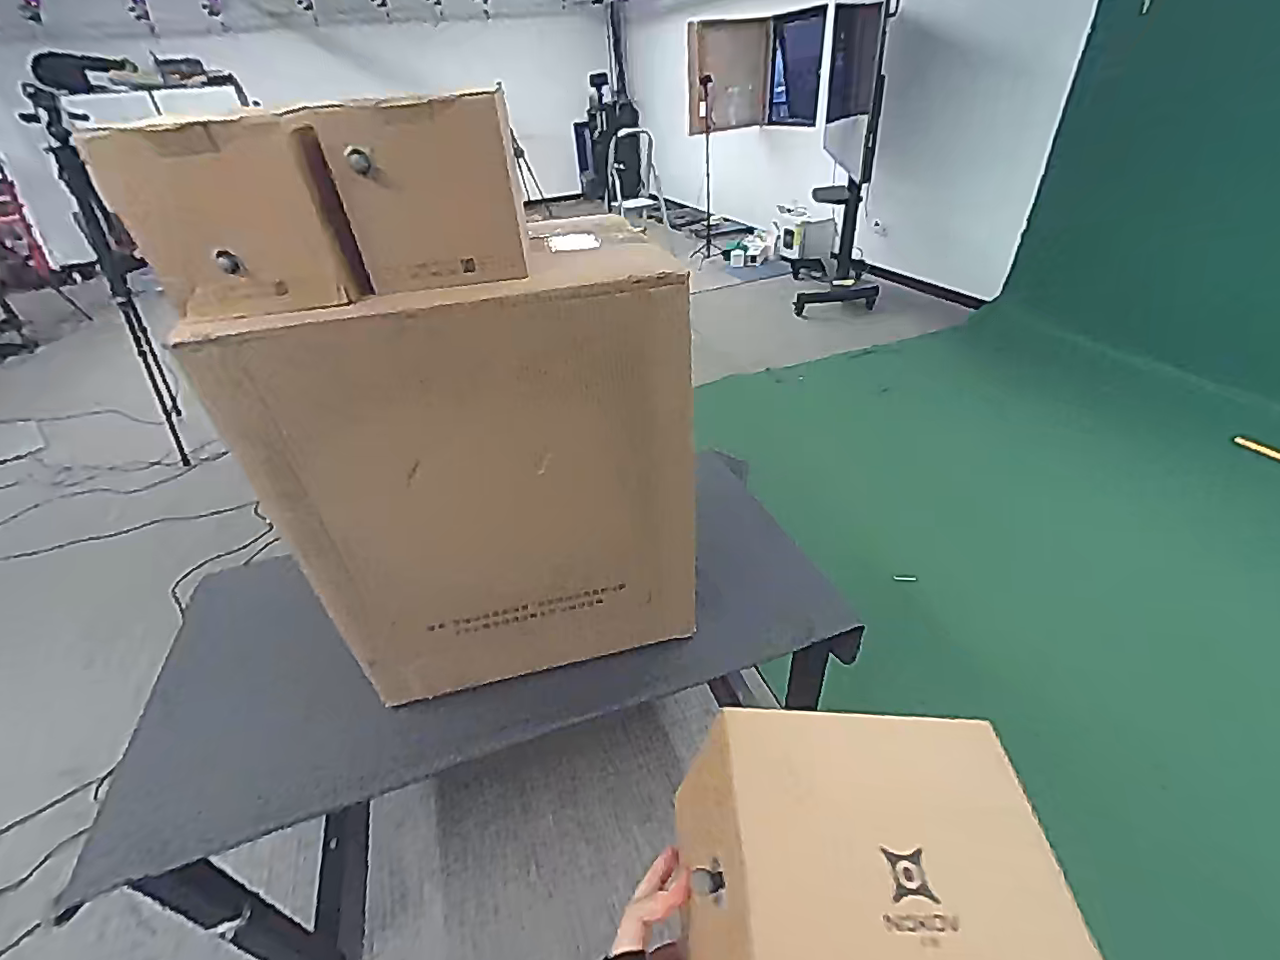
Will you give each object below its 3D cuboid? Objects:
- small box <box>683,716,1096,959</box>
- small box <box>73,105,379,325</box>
[{"bbox_3d":[0.122,0.262,0.314,0.168,0.176,0.179,5,45,-5],"label":"small box"},{"bbox_3d":[-0.391,-0.276,0.559,0.168,0.176,0.179,-9,39,-6],"label":"small box"}]
